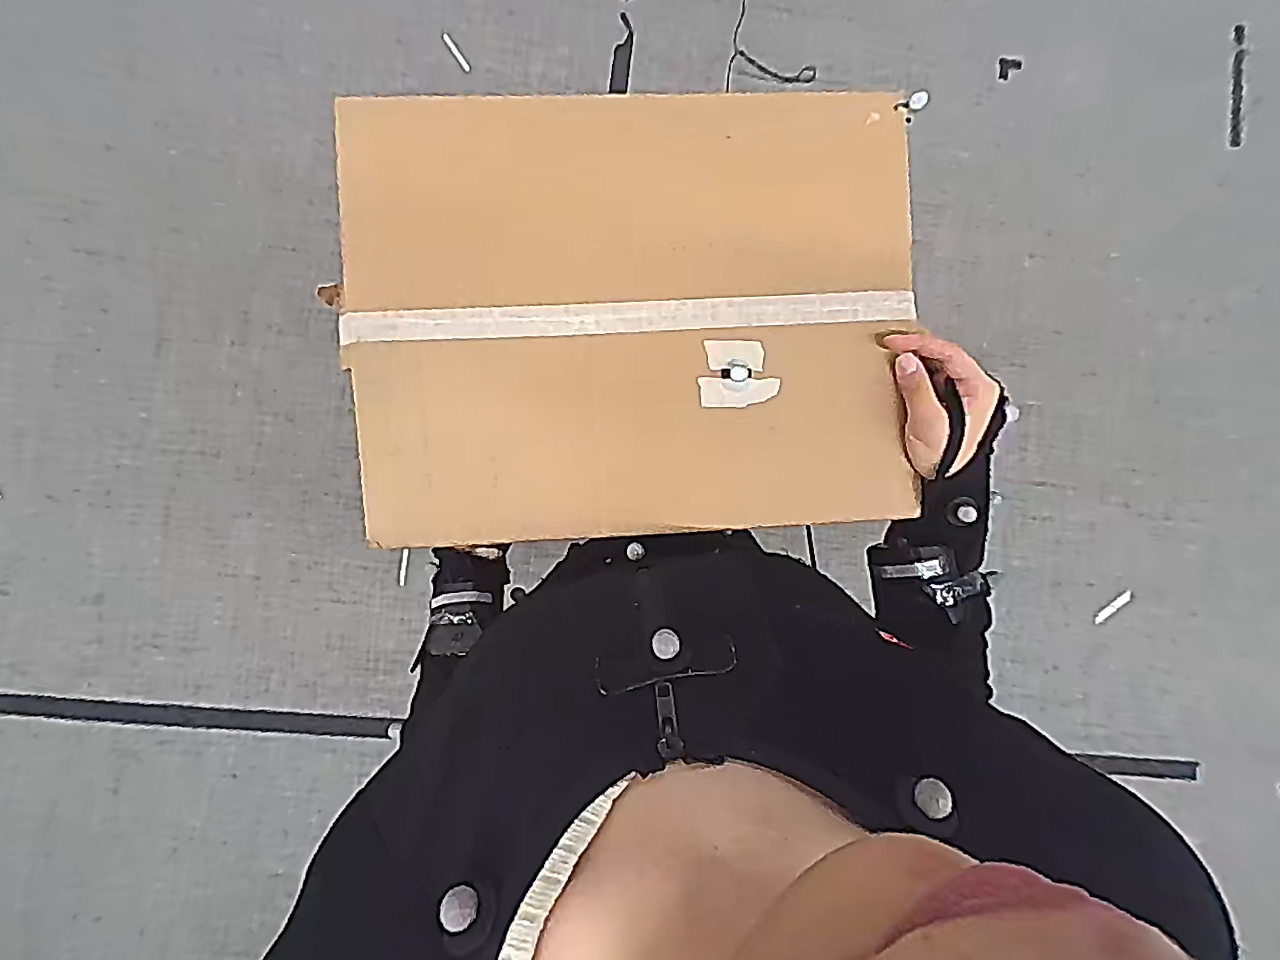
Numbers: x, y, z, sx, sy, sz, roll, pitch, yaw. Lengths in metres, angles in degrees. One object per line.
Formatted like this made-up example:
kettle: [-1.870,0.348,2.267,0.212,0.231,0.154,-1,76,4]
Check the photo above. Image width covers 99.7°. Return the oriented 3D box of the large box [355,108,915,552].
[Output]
large box: [-0.007,-0.119,0.546,0.408,0.320,0.320,-4,93,-5]
